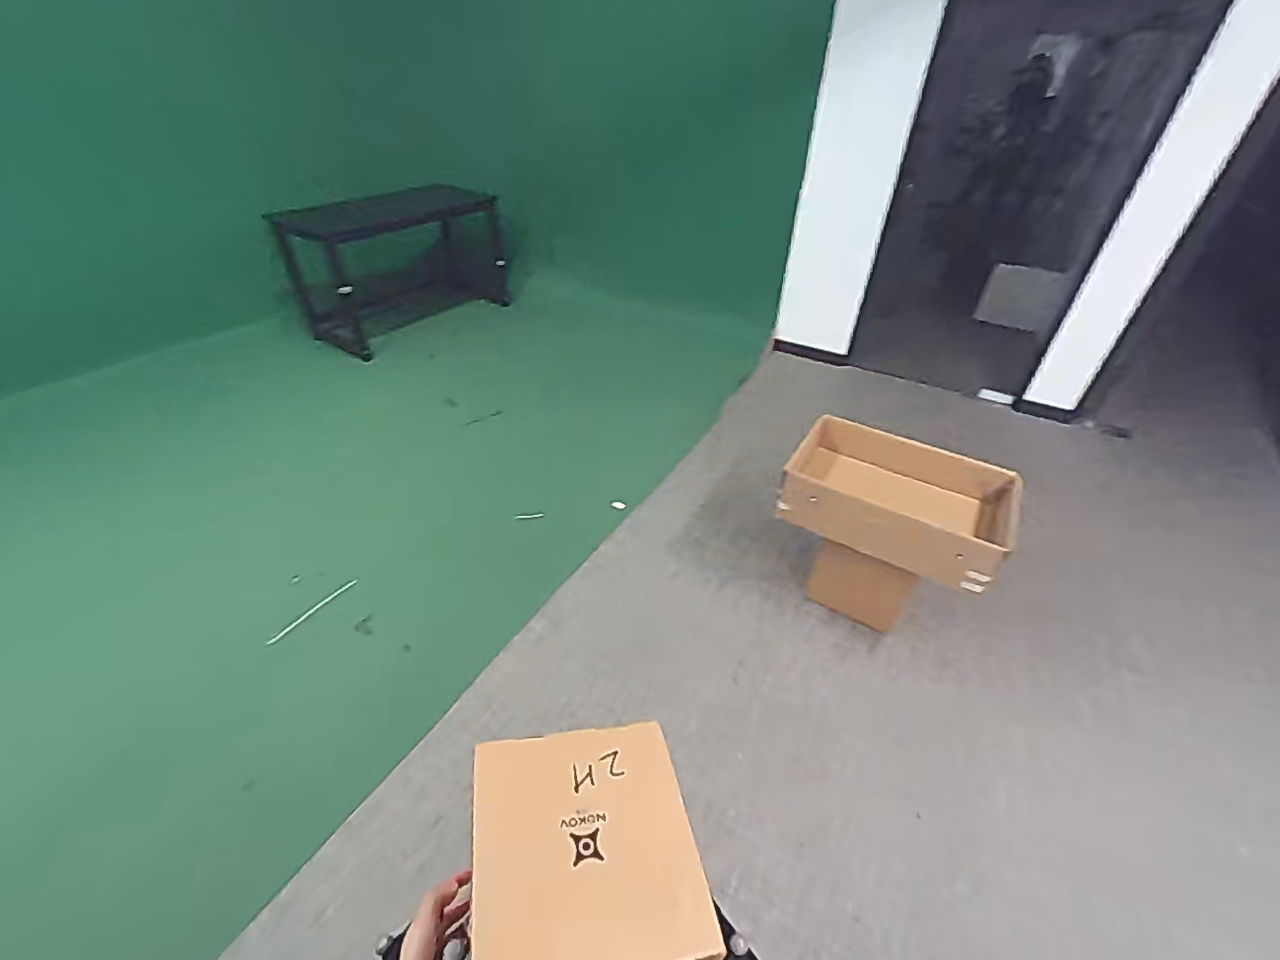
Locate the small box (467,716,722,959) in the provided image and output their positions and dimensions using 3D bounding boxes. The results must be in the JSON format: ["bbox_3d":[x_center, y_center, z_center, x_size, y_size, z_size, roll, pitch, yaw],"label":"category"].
[{"bbox_3d":[-0.051,0.327,0.443,0.168,0.176,0.179,2,30,-15],"label":"small box"}]
